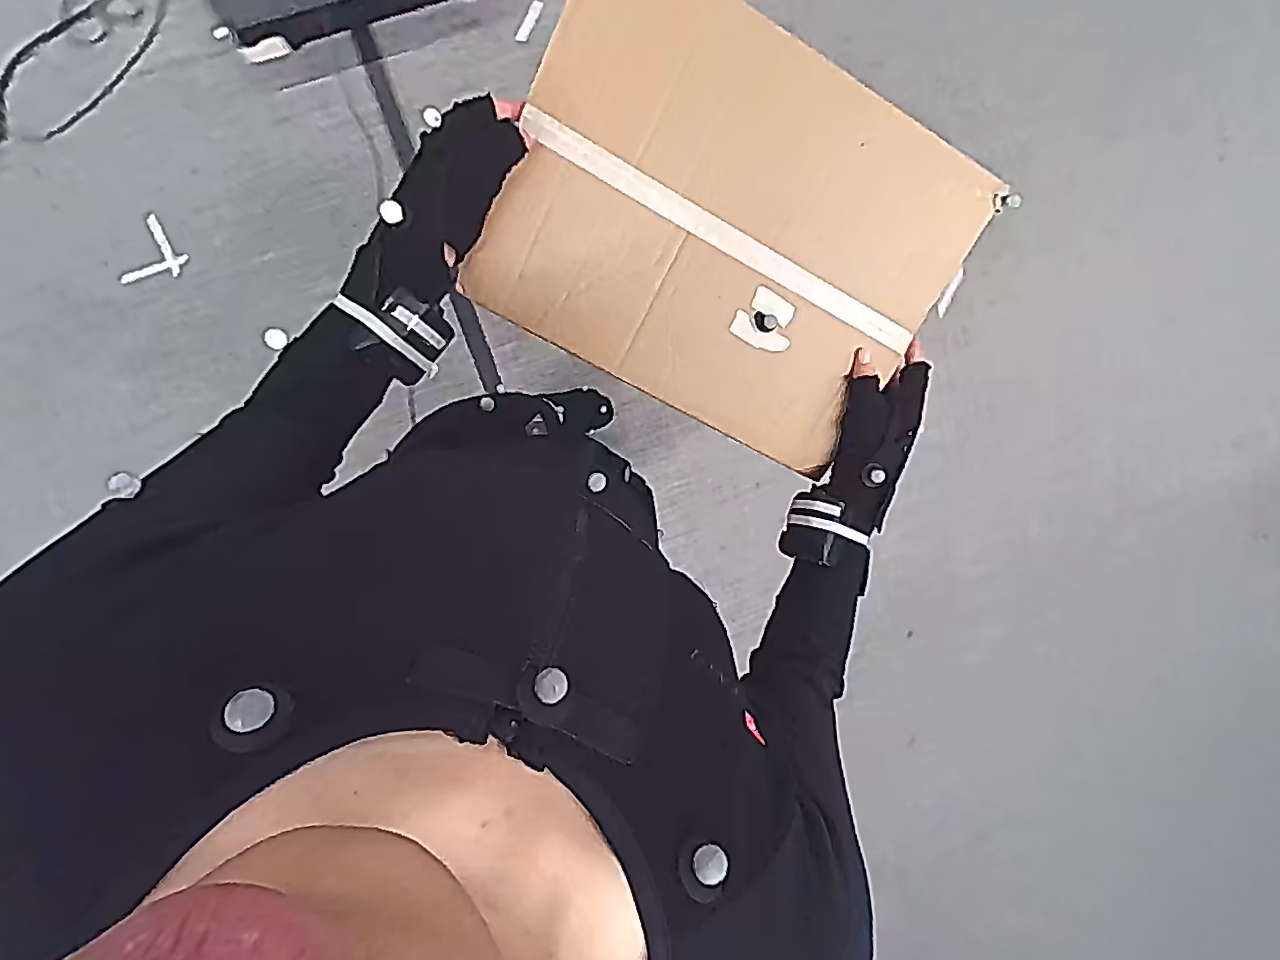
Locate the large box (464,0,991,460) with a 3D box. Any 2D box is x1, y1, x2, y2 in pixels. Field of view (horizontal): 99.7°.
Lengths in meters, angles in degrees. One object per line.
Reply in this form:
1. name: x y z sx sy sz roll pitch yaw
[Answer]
1. large box: 0.068 -0.273 0.633 0.408 0.320 0.320 24 106 -11
